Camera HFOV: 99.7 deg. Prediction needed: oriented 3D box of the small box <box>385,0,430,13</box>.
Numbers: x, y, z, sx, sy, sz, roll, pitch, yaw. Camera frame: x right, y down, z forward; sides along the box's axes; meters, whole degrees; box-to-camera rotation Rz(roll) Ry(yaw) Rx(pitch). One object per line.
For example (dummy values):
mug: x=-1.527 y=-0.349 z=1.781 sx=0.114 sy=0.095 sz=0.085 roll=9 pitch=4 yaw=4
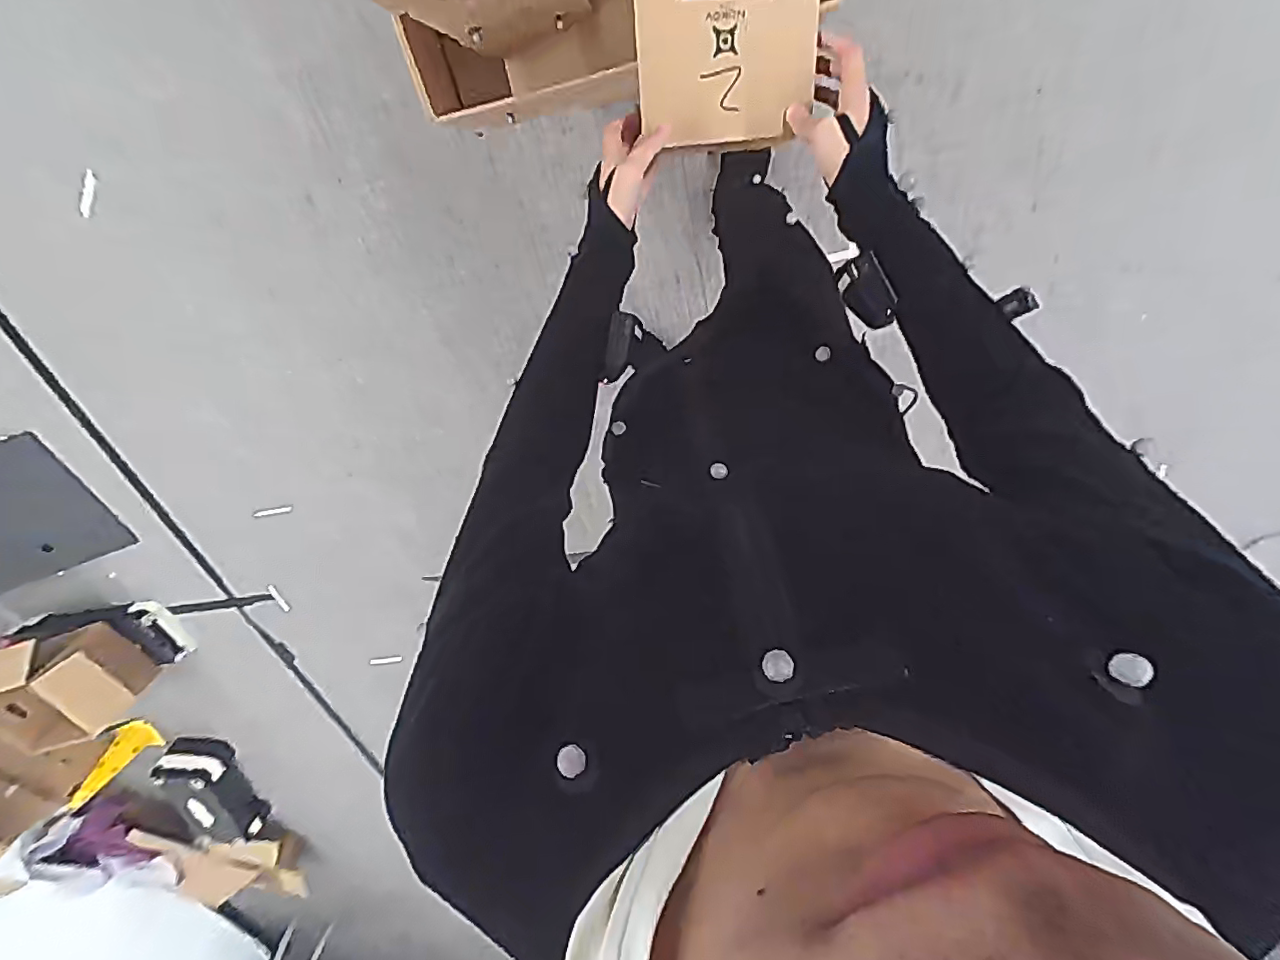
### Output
small box: x=-0.229 y=-0.562 z=0.471 sx=0.168 sy=0.176 sz=0.179 roll=-13 pitch=118 yaw=13

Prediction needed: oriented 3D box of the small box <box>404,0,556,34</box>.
small box: x=-0.201 y=-0.643 z=0.613 sx=0.168 sy=0.176 sz=0.179 roll=-12 pitch=118 yaw=12
